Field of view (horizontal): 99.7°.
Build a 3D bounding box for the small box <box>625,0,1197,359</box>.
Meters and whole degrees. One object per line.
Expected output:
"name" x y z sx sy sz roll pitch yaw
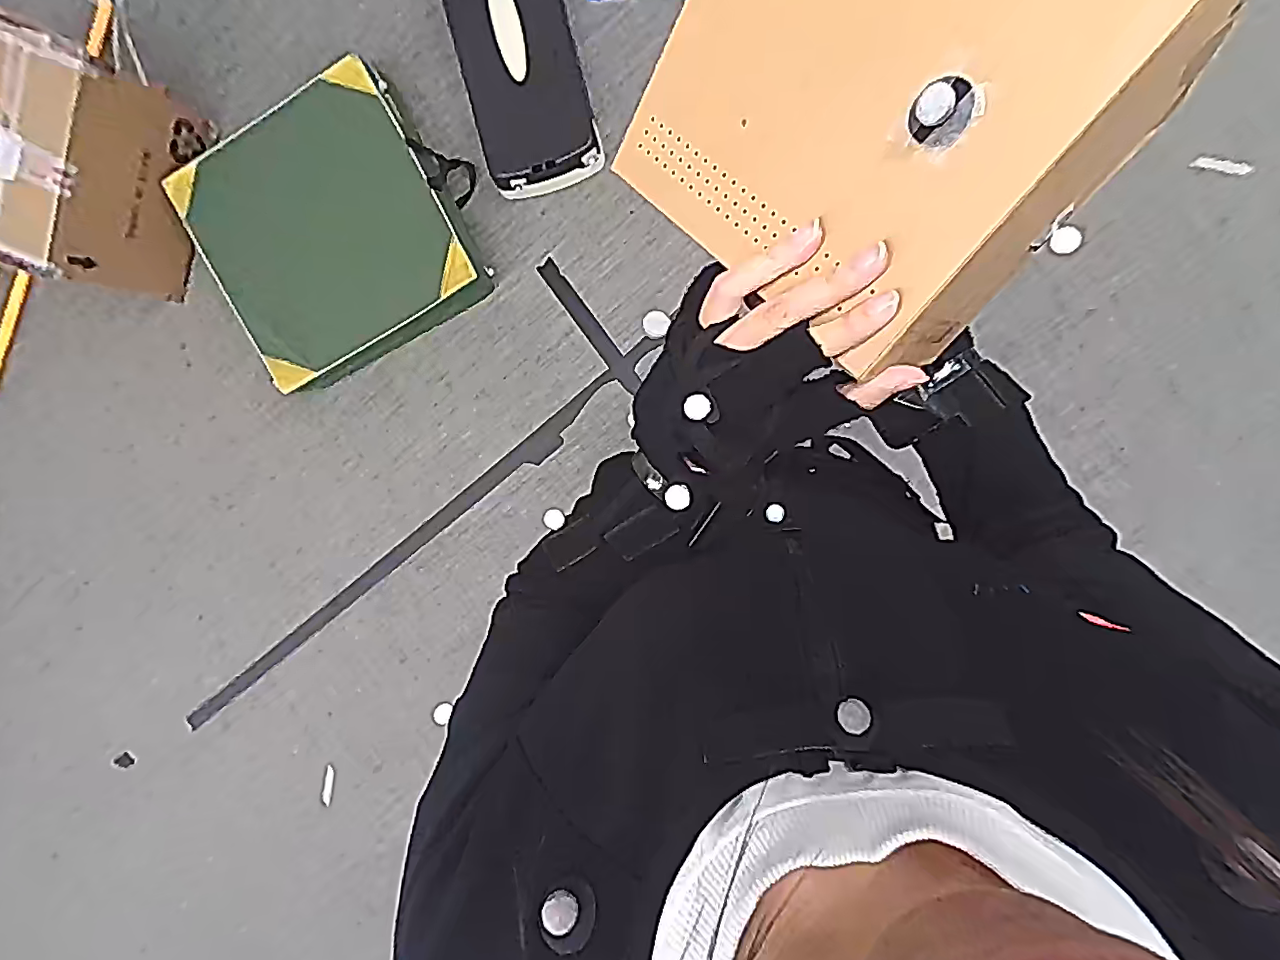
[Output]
"small box" 0.127 -0.180 0.293 0.179 0.168 0.176 48 126 19
